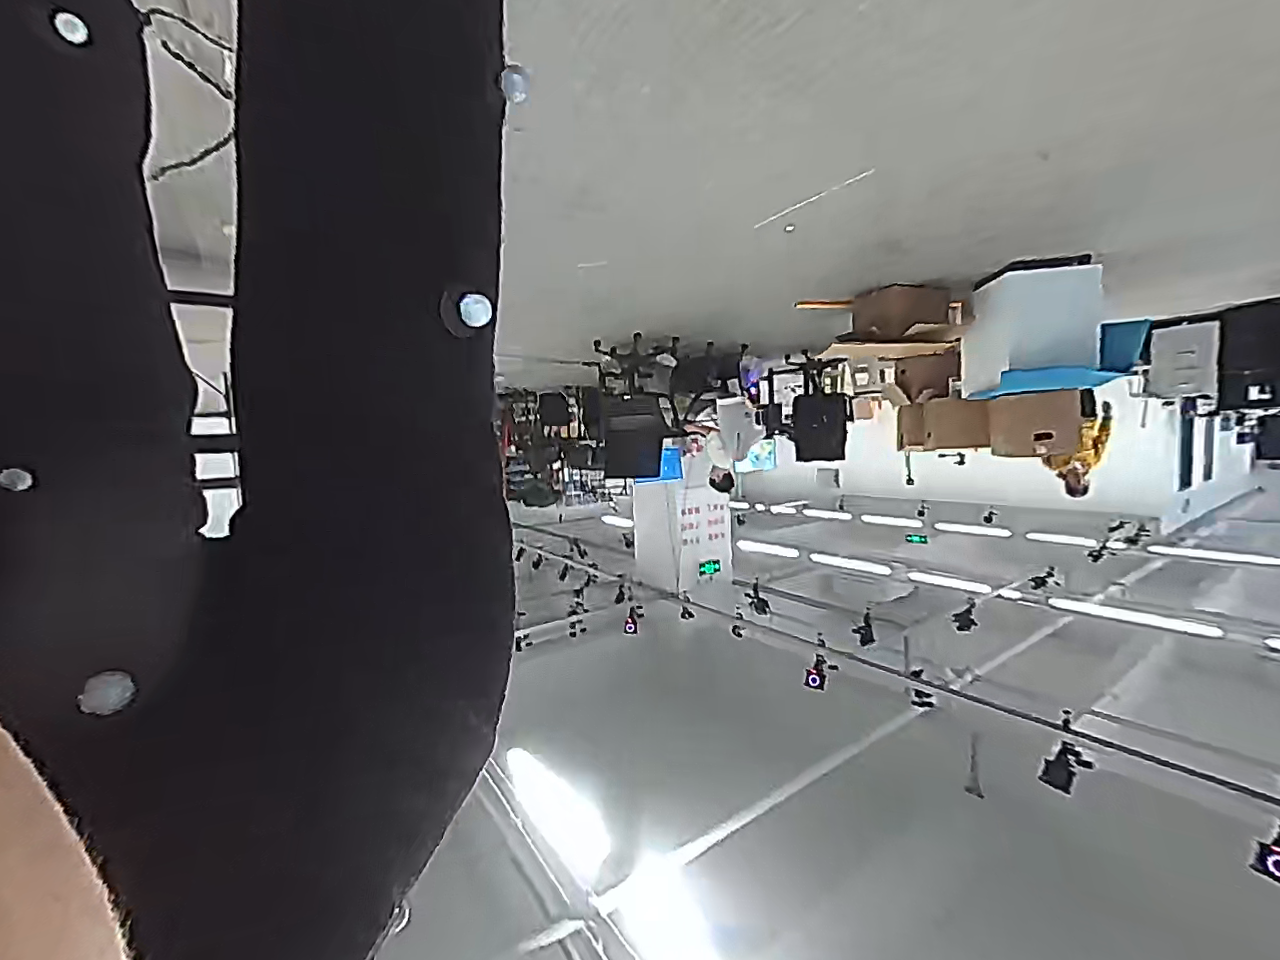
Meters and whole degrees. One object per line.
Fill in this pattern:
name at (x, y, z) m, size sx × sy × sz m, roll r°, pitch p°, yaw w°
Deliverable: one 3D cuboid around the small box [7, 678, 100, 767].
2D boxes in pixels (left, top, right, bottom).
small box at (-1.832, 0.751, 1.694) m, size 0.168 × 0.176 × 0.179 m, roll -6°, pitch -173°, yaw -37°
